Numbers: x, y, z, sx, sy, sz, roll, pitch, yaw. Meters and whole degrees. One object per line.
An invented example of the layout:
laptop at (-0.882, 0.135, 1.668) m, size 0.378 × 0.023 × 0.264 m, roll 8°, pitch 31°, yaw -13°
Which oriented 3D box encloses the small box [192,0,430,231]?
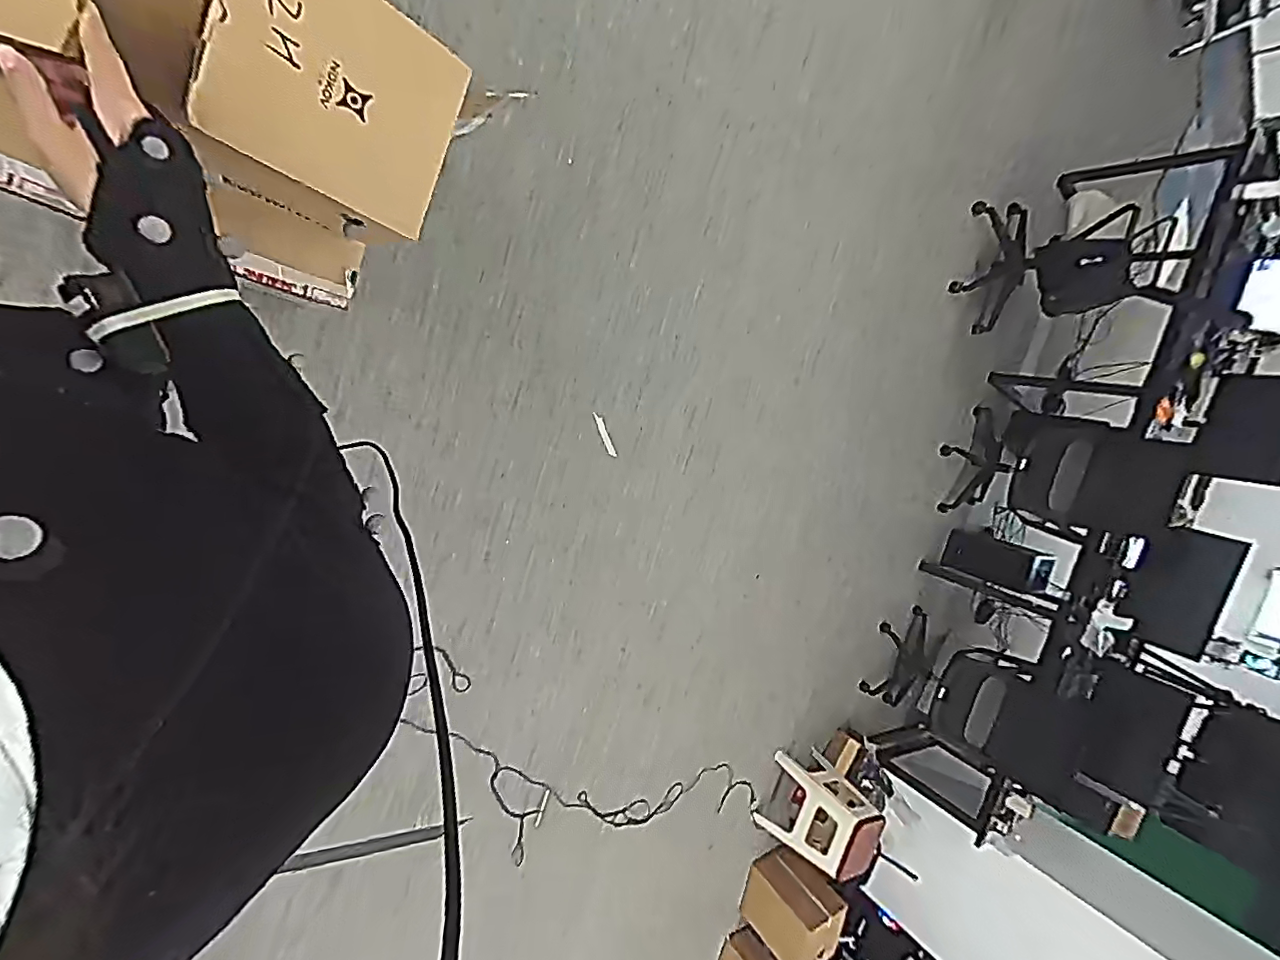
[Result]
small box at (-0.381, -0.407, 0.623) m, size 0.179 × 0.176 × 0.168 m, roll 22°, pitch 92°, yaw -42°
